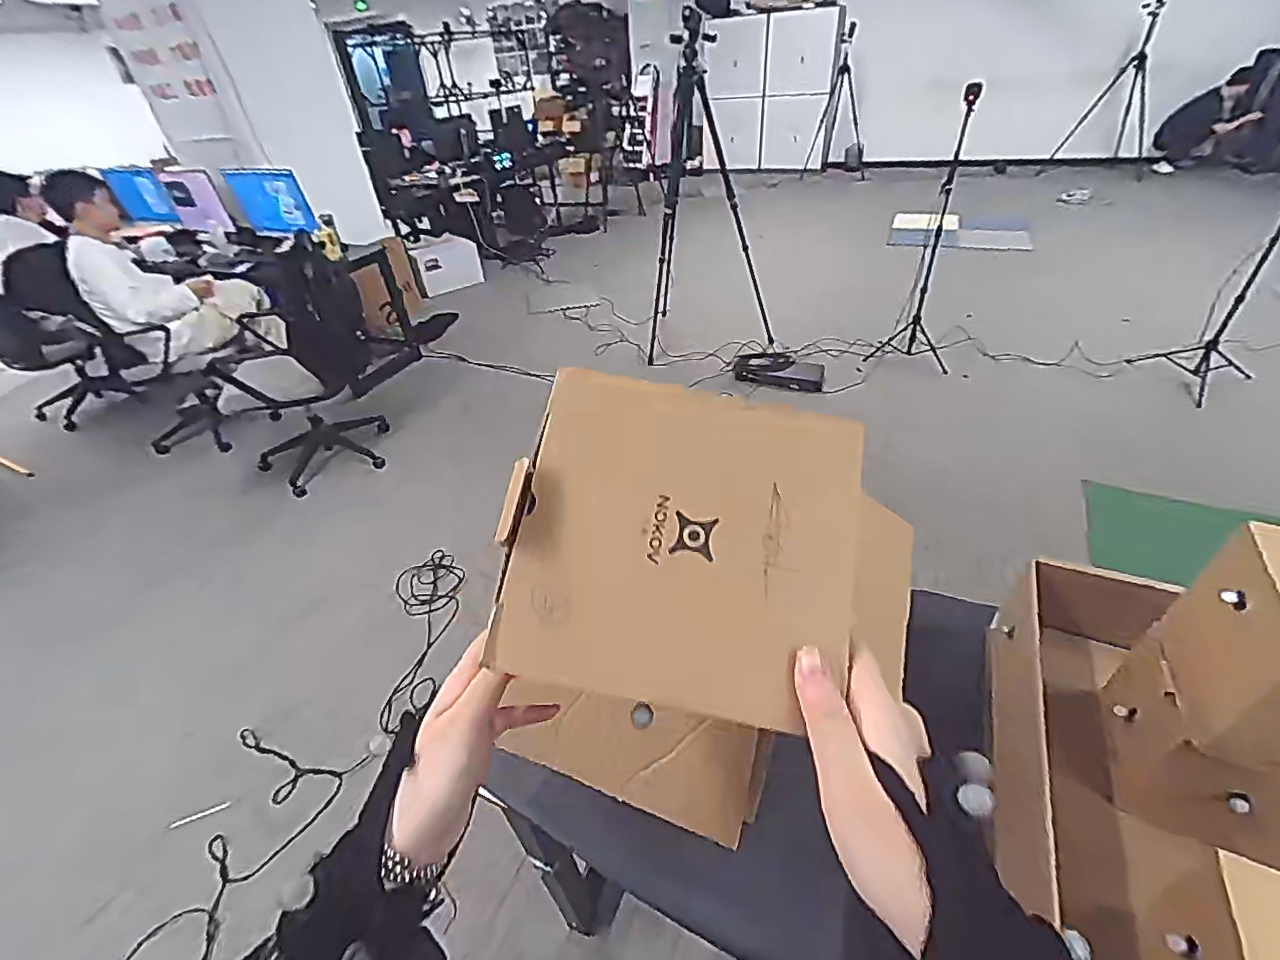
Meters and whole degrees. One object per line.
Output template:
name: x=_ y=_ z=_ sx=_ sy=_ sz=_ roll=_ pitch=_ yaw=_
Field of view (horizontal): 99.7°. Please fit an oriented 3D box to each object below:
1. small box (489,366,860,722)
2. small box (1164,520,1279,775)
small box: x=0.023 y=0.050 z=0.360 sx=0.179 sy=0.176 sz=0.168 roll=11 pitch=72 yaw=1
small box: x=0.656 y=0.172 z=0.517 sx=0.168 sy=0.176 sz=0.179 roll=14 pitch=43 yaw=24
